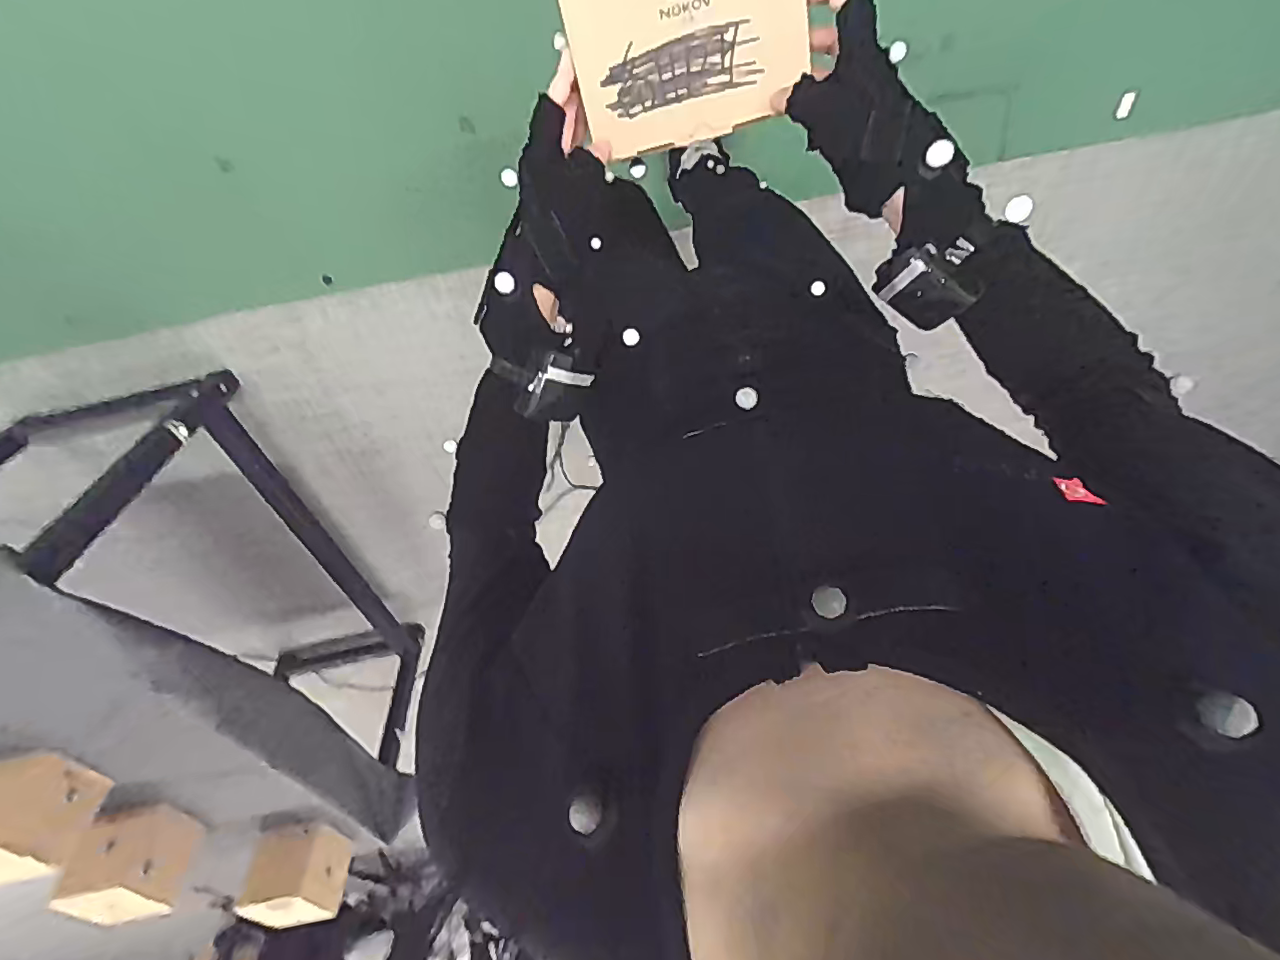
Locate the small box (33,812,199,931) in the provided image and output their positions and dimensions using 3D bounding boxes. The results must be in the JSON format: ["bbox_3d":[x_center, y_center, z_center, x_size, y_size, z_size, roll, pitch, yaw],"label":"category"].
[{"bbox_3d":[-1.162,0.875,1.219,0.168,0.176,0.179,-11,129,-1],"label":"small box"}]

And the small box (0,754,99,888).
[{"bbox_3d":[-1.227,0.658,1.038,0.179,0.176,0.168,-12,129,0],"label":"small box"}]

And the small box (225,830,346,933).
[{"bbox_3d":[-0.890,1.016,1.377,0.168,0.176,0.179,-12,130,1],"label":"small box"}]
